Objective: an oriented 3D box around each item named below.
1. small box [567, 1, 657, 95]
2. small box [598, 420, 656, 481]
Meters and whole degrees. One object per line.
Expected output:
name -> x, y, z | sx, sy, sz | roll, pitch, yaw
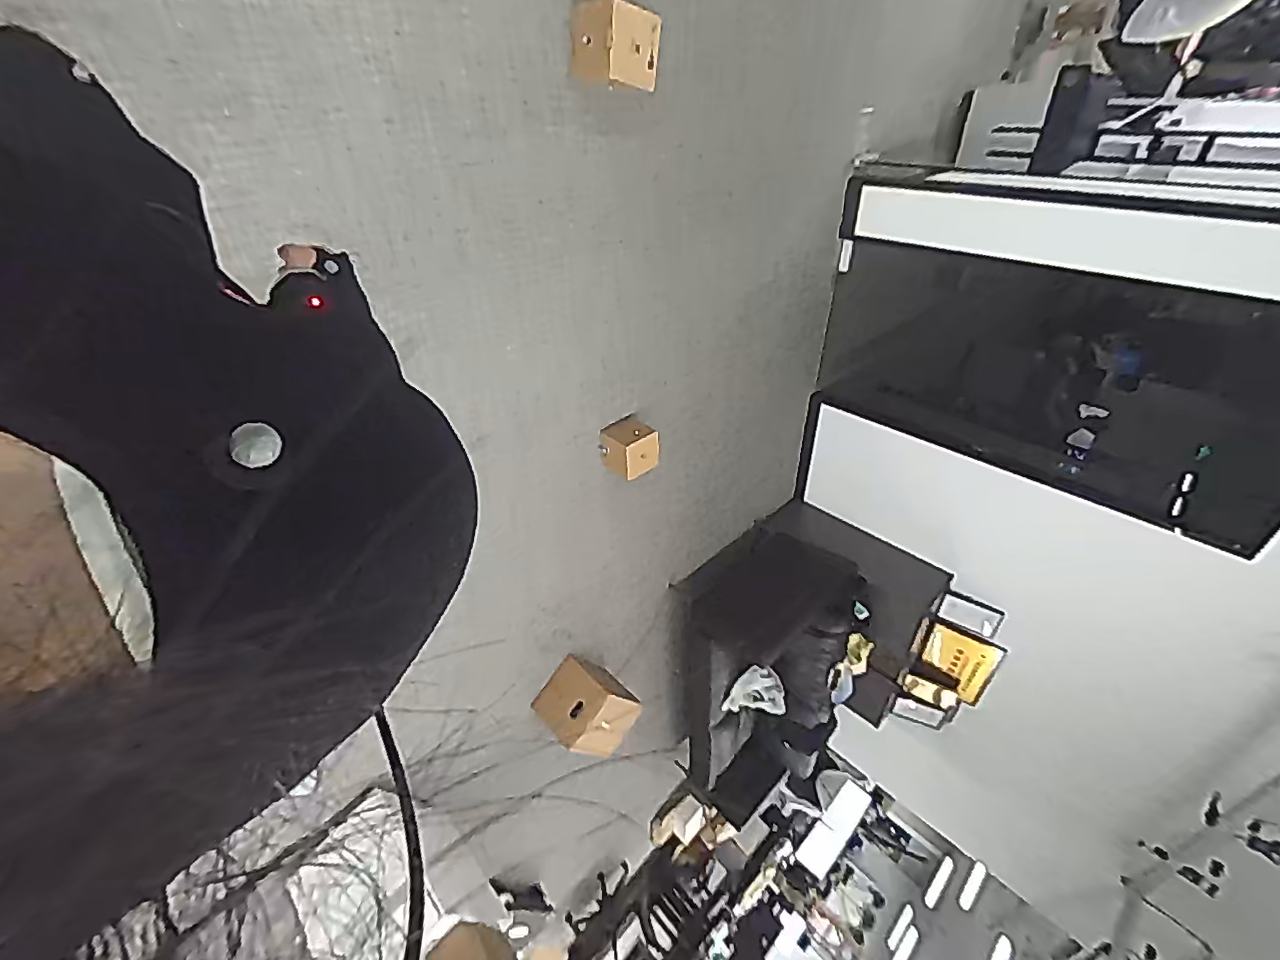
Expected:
small box -> -0.081, -1.157, 1.464 | 0.179, 0.176, 0.168 | -19, 128, -41
small box -> -0.054, -0.130, 2.234 | 0.179, 0.176, 0.168 | -30, 134, -32
